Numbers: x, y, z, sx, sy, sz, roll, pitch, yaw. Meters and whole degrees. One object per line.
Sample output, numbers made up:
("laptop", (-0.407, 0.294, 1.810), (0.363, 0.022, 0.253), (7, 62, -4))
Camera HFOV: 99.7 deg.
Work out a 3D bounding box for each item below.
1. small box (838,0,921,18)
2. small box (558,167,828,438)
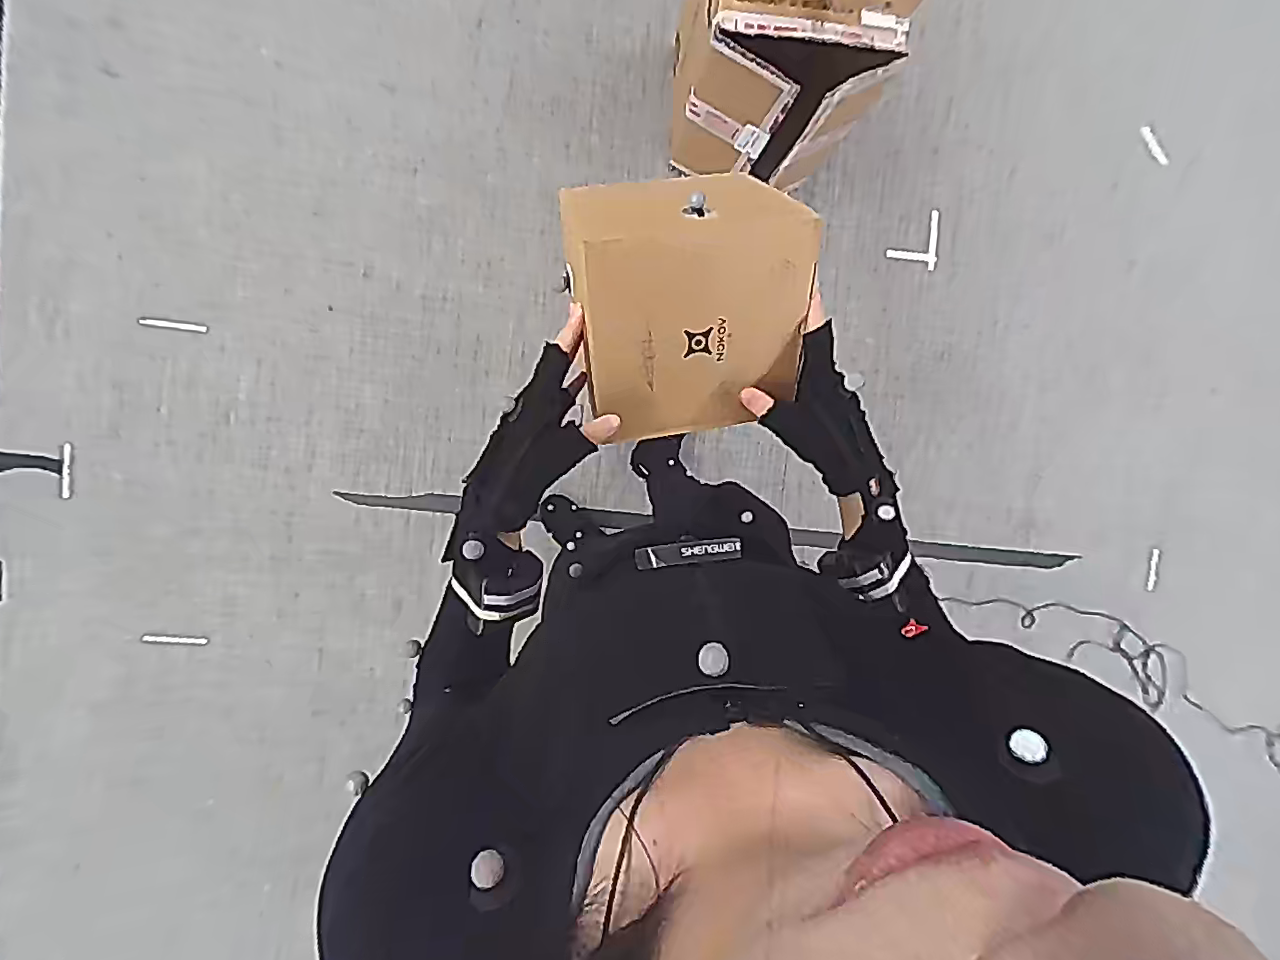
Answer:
("small box", (0.455, -0.979, 0.951), (0.168, 0.176, 0.179), (1, 91, -9))
("small box", (0.034, -0.162, 0.472), (0.179, 0.176, 0.168), (-11, 129, -7))
